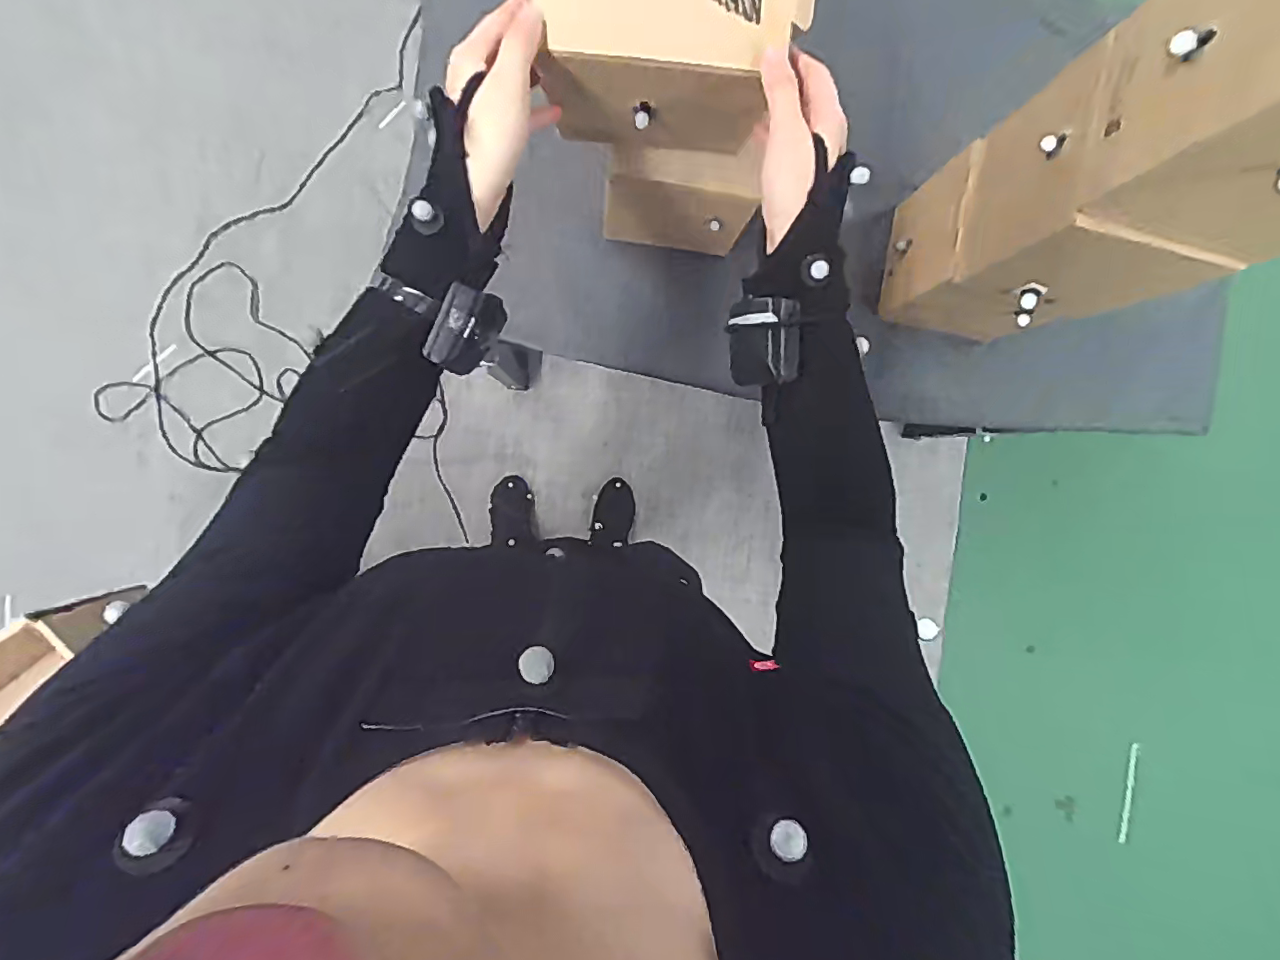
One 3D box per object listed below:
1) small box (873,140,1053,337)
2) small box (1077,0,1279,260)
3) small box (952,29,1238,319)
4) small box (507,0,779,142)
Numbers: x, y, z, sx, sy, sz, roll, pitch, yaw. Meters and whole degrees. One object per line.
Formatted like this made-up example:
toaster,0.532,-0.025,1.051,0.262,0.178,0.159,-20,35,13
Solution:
small box,0.440,-0.296,0.705,0.179,0.176,0.168,11,90,-5
small box,0.468,-0.280,0.381,0.179,0.176,0.168,14,91,-4
small box,0.452,-0.283,0.544,0.168,0.176,0.179,13,92,-4
small box,0.005,-0.376,0.409,0.179,0.176,0.168,4,106,-2
